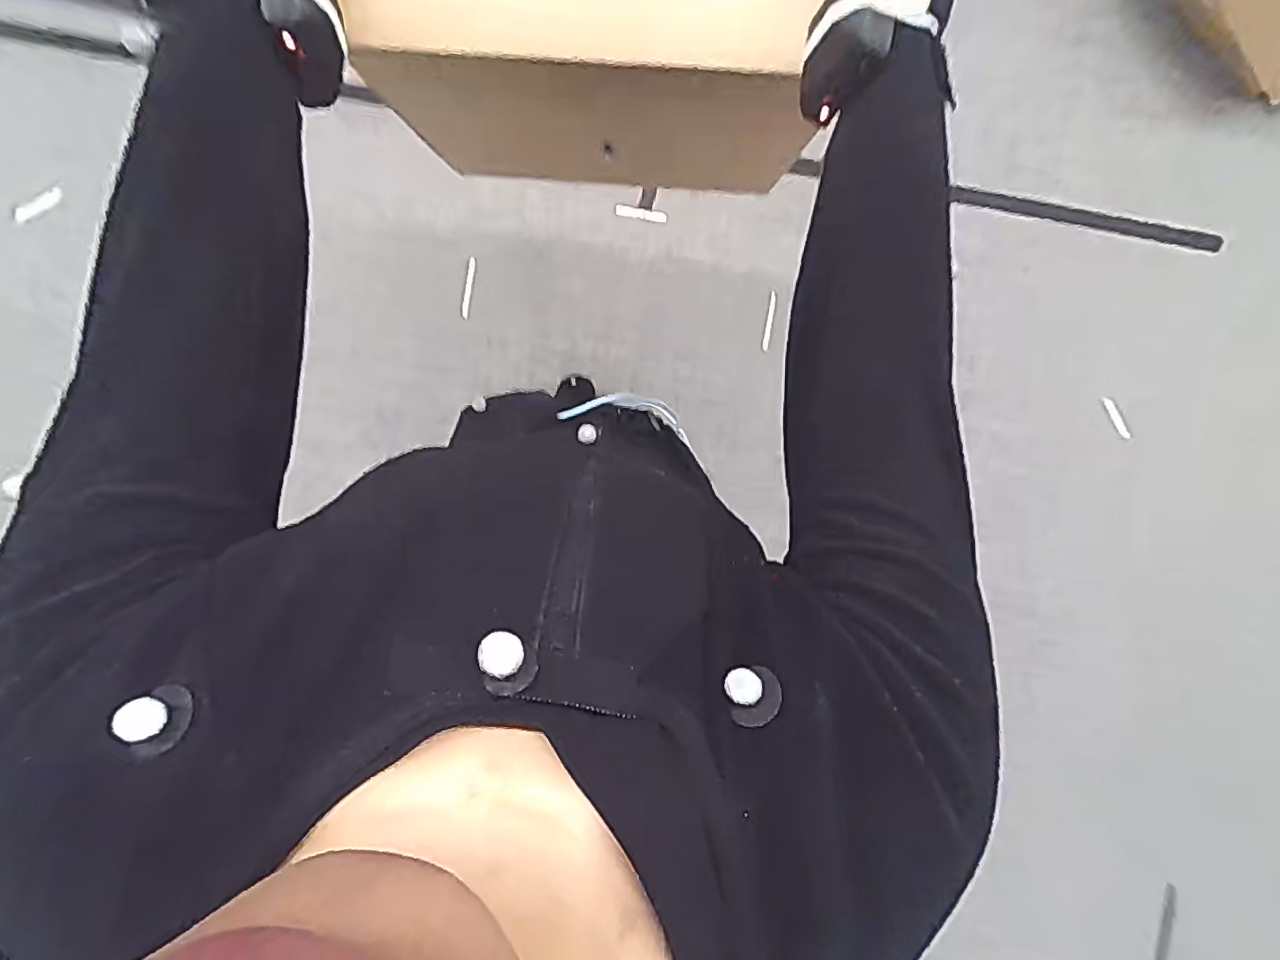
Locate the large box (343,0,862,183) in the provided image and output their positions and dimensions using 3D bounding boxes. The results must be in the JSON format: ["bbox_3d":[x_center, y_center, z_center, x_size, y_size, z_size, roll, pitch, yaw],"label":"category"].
[{"bbox_3d":[-0.022,-0.509,0.531,0.408,0.320,0.320,3,102,-1],"label":"large box"}]
